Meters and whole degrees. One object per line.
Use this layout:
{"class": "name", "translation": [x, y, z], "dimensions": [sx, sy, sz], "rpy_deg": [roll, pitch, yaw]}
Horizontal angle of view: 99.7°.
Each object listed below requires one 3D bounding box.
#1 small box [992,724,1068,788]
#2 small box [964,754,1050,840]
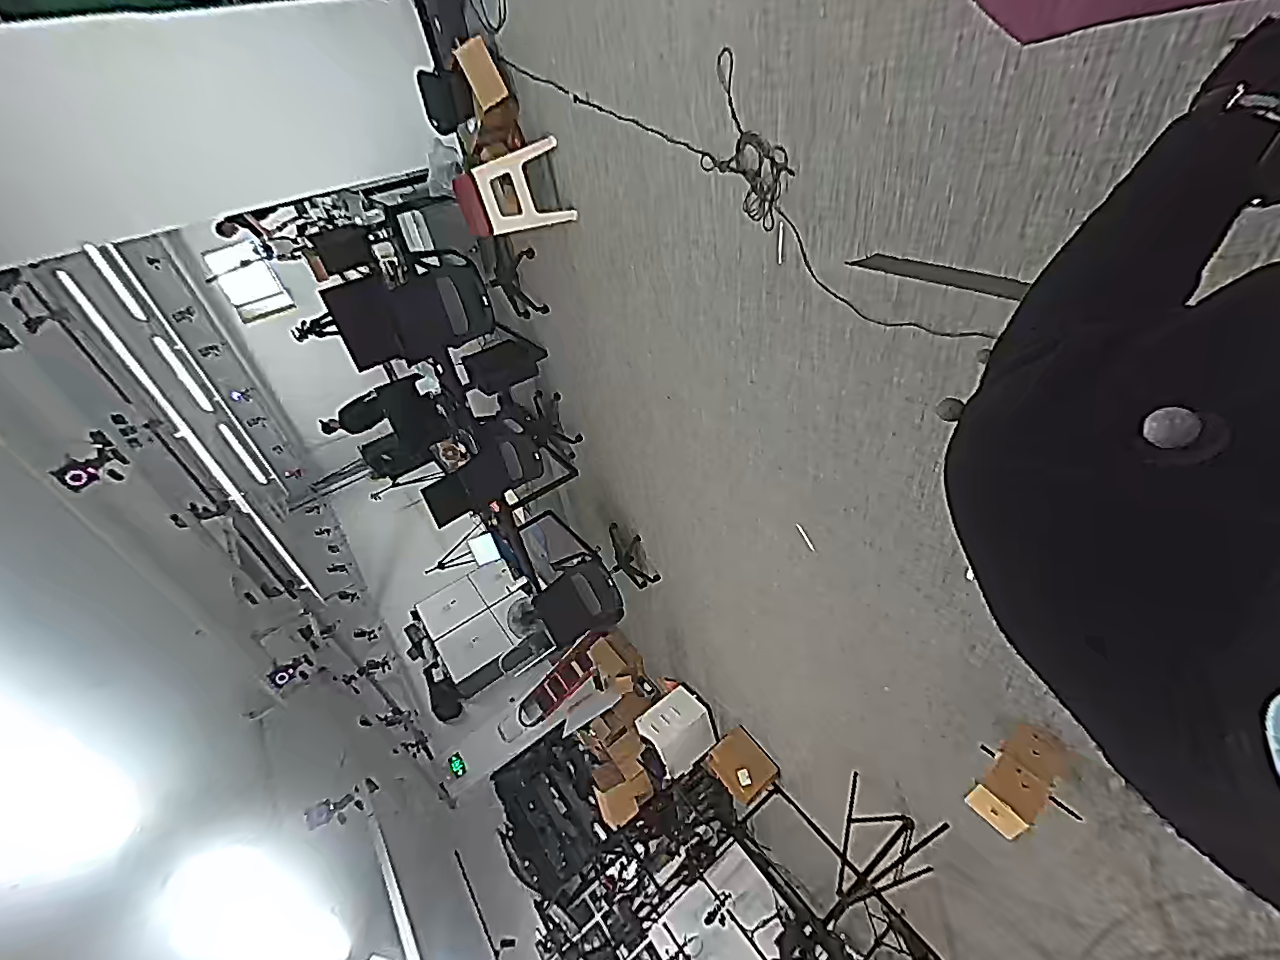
{"class": "small box", "translation": [1.410, 1.029, 1.963], "dimensions": [0.168, 0.176, 0.179], "rpy_deg": [36, 147, 44]}
{"class": "small box", "translation": [1.284, 1.104, 1.891], "dimensions": [0.168, 0.176, 0.179], "rpy_deg": [39, 149, 38]}
